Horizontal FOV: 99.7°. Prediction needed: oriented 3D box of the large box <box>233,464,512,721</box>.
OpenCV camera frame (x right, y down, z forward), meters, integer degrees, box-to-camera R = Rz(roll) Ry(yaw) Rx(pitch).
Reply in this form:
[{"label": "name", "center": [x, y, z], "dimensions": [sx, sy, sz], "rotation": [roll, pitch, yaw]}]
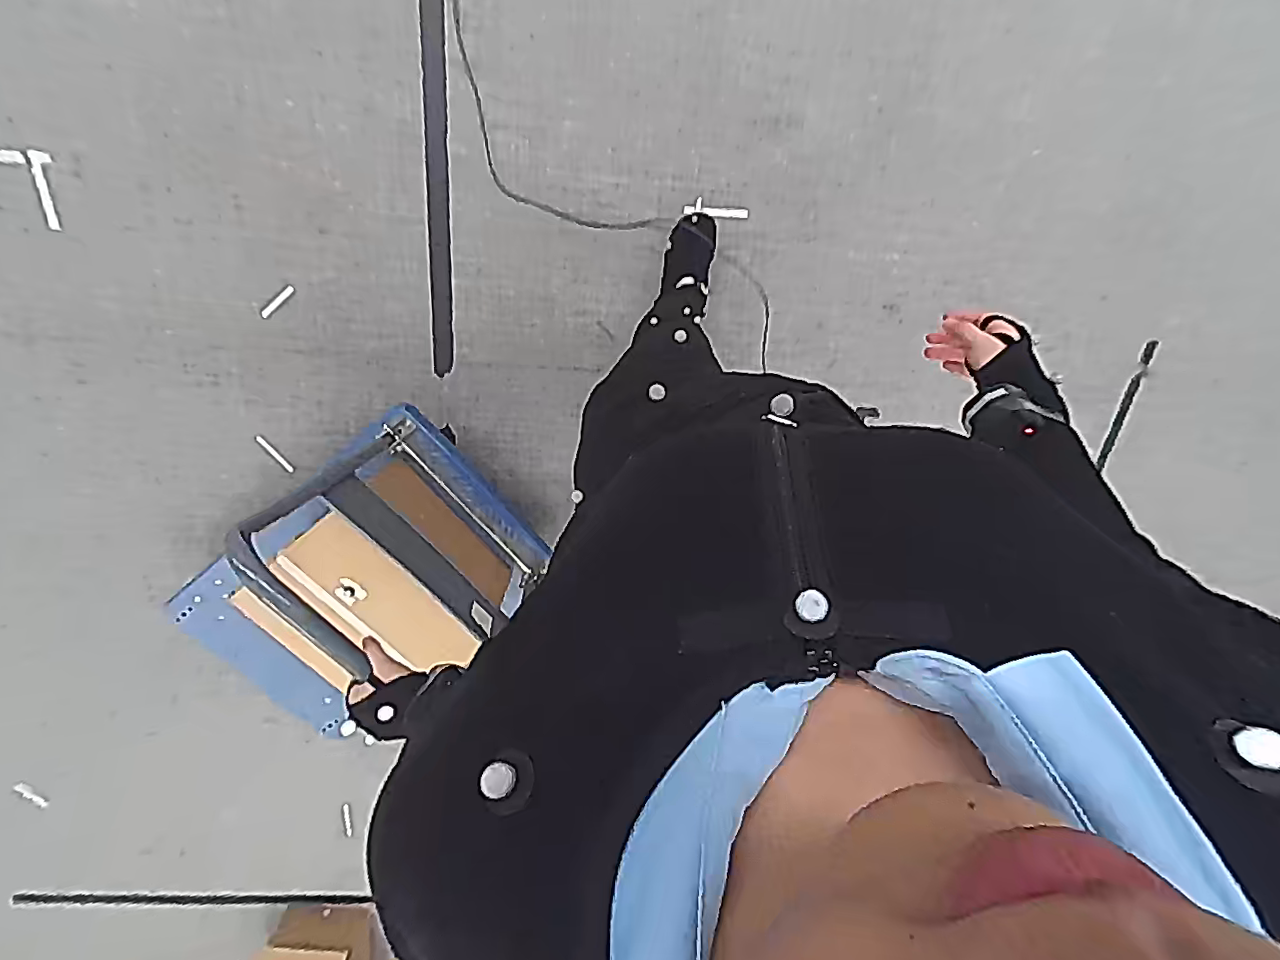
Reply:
[{"label": "large box", "center": [-0.559, 0.240, 1.221], "dimensions": [0.320, 0.320, 0.408], "rotation": [-37, 107, 9]}]
